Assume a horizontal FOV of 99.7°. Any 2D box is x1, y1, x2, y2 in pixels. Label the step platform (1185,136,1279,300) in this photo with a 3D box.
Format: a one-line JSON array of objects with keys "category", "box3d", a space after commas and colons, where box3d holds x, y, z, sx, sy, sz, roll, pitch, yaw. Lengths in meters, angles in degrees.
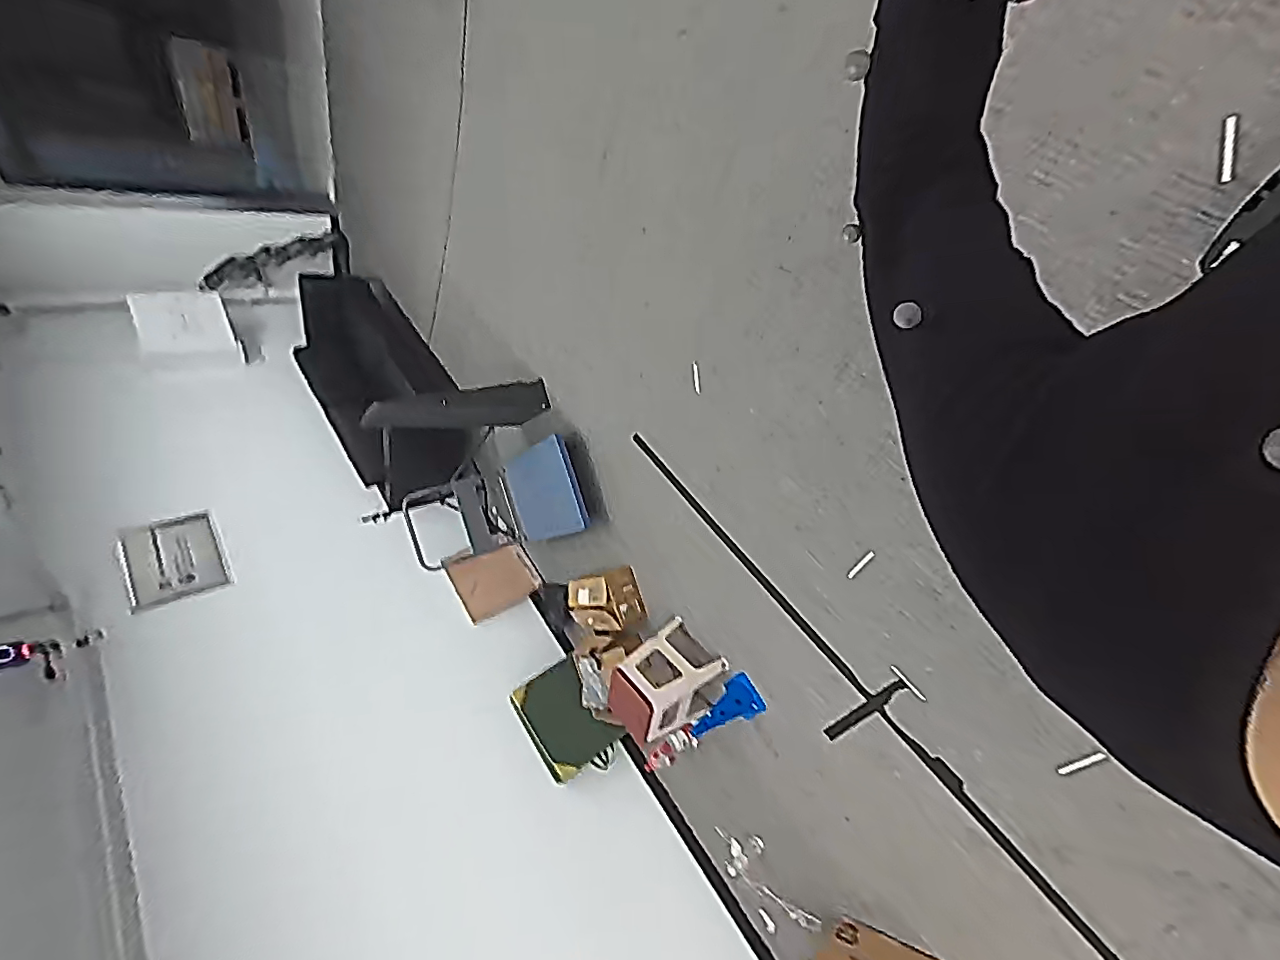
[{"category": "step platform", "box3d": [1.327, -0.345, 0.854, 0.684, 0.204, 0.286, 49, 138, 30]}]
